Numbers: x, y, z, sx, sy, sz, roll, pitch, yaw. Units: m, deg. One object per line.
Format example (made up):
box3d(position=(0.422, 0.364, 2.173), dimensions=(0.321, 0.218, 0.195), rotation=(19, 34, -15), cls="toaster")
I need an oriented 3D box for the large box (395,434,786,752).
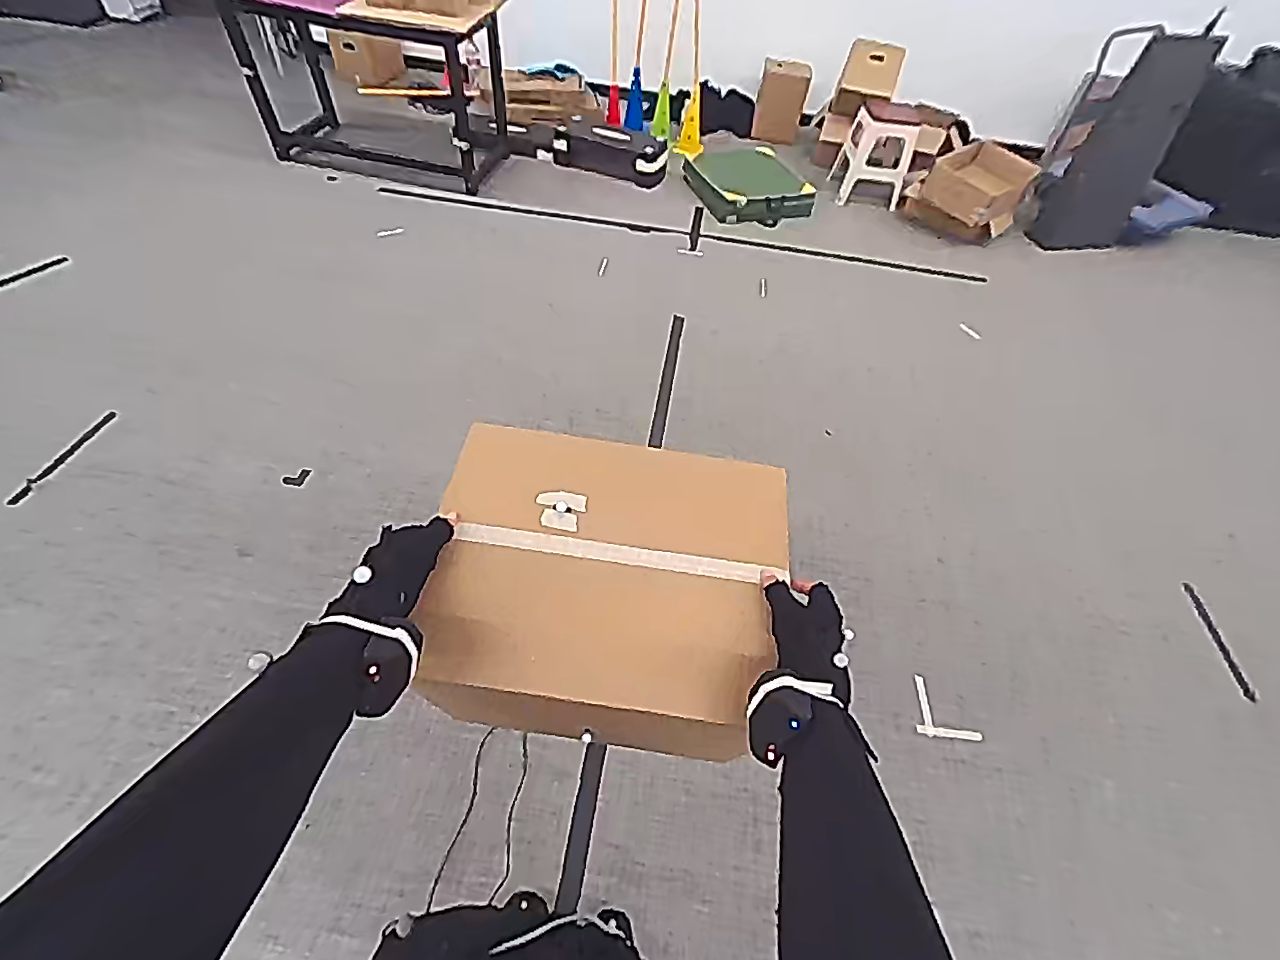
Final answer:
box3d(position=(-0.041, 0.170, 0.744), dimensions=(0.408, 0.320, 0.320), rotation=(8, 57, 1), cls="large box")
